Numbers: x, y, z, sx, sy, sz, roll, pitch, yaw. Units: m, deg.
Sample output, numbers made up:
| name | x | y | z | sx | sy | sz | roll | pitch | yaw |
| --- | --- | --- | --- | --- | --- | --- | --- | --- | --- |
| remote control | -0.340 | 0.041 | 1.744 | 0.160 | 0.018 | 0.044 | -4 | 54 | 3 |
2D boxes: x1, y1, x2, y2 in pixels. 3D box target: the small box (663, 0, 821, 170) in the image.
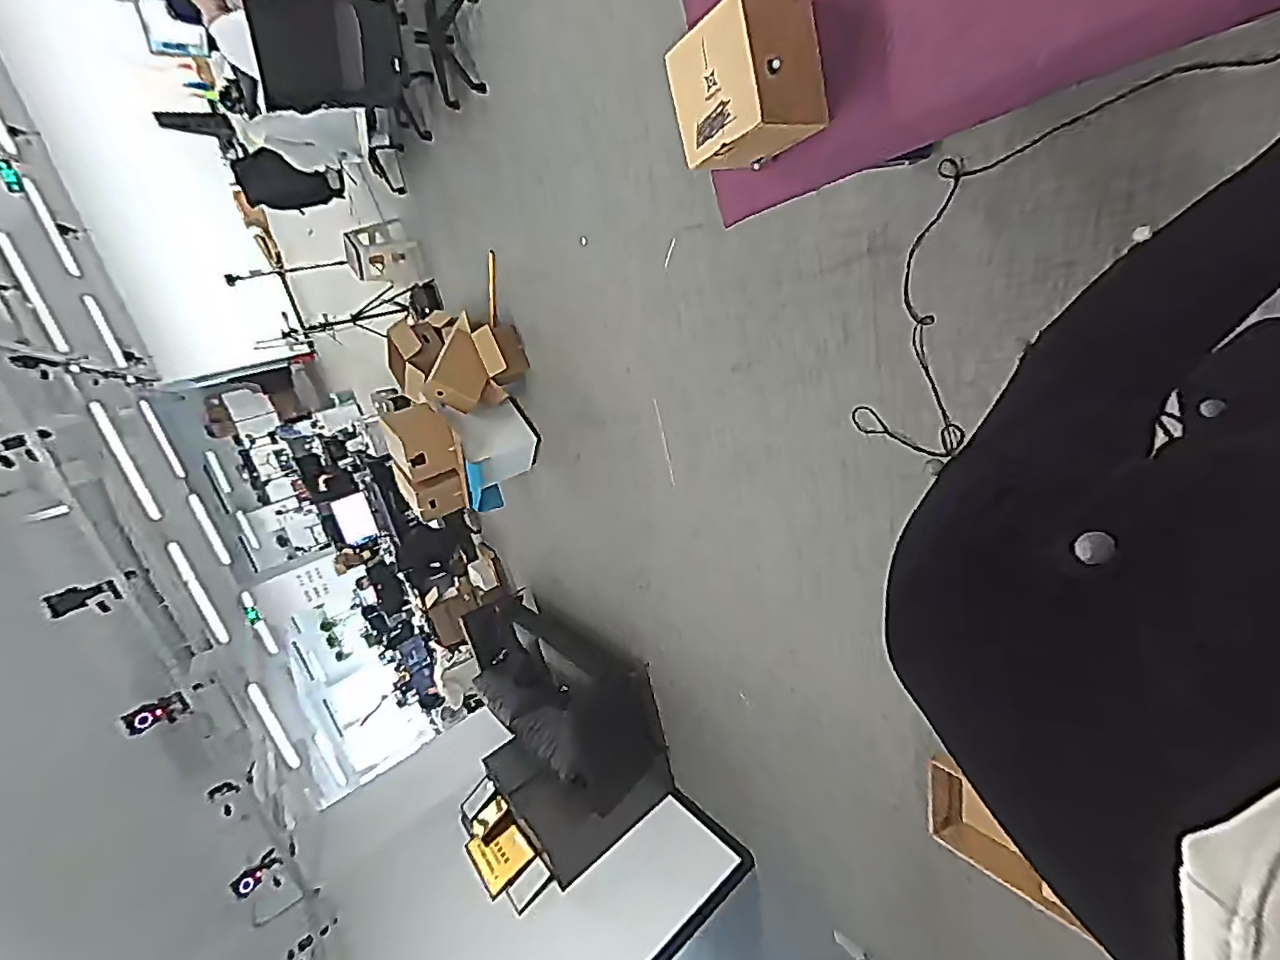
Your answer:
| name | x | y | z | sx | sy | sz | roll | pitch | yaw |
| --- | --- | --- | --- | --- | --- | --- | --- | --- | --- |
| small box | 0.167 | -0.622 | 0.863 | 0.168 | 0.176 | 0.179 | 4 | 113 | 54 |
